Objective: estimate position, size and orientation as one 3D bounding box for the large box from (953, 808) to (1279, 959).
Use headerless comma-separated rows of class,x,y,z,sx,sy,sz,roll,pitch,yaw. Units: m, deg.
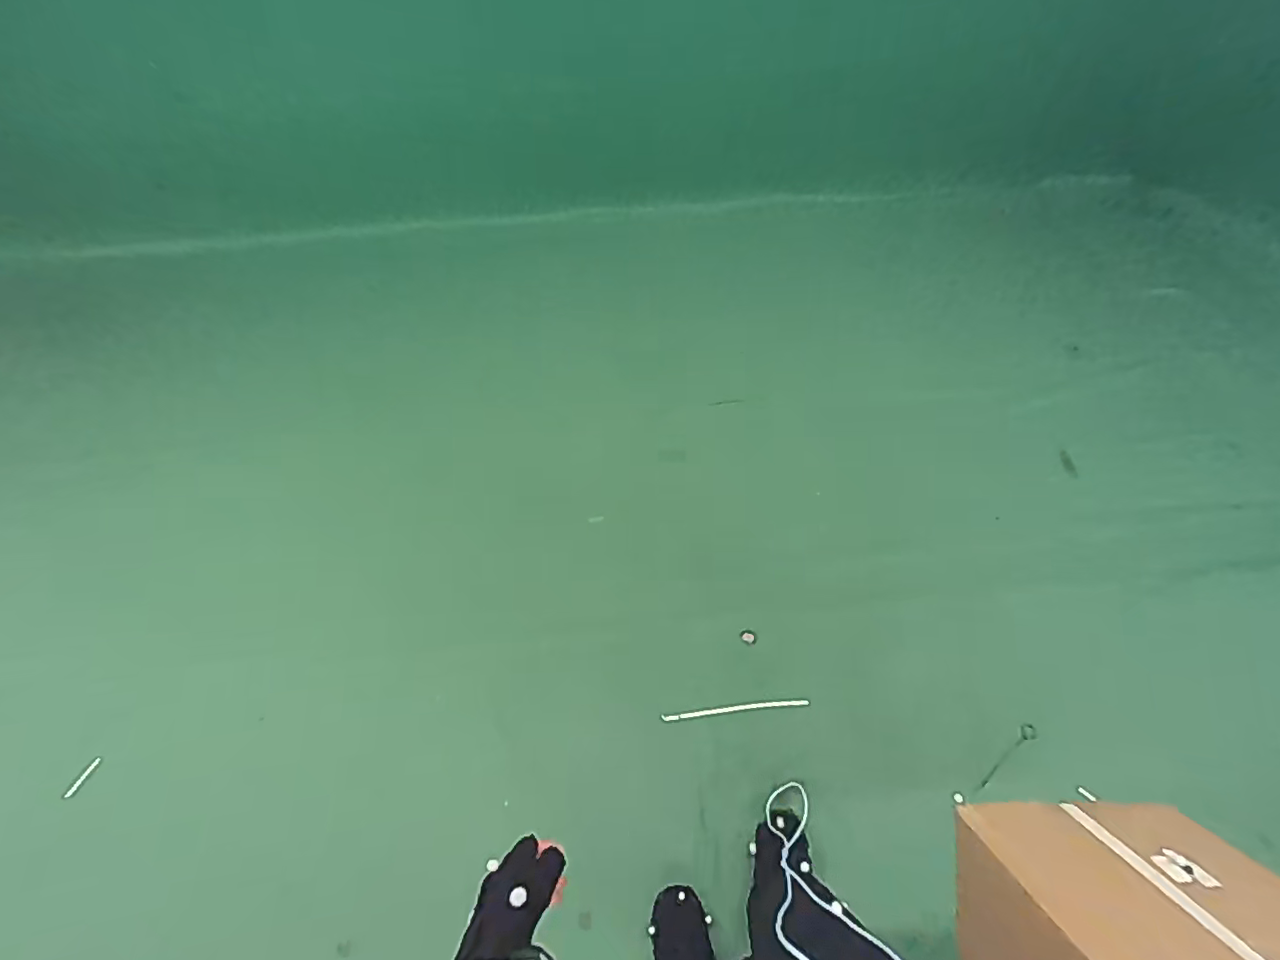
large box,0.615,0.641,0.600,0.320,0.408,0.320,-1,90,2
